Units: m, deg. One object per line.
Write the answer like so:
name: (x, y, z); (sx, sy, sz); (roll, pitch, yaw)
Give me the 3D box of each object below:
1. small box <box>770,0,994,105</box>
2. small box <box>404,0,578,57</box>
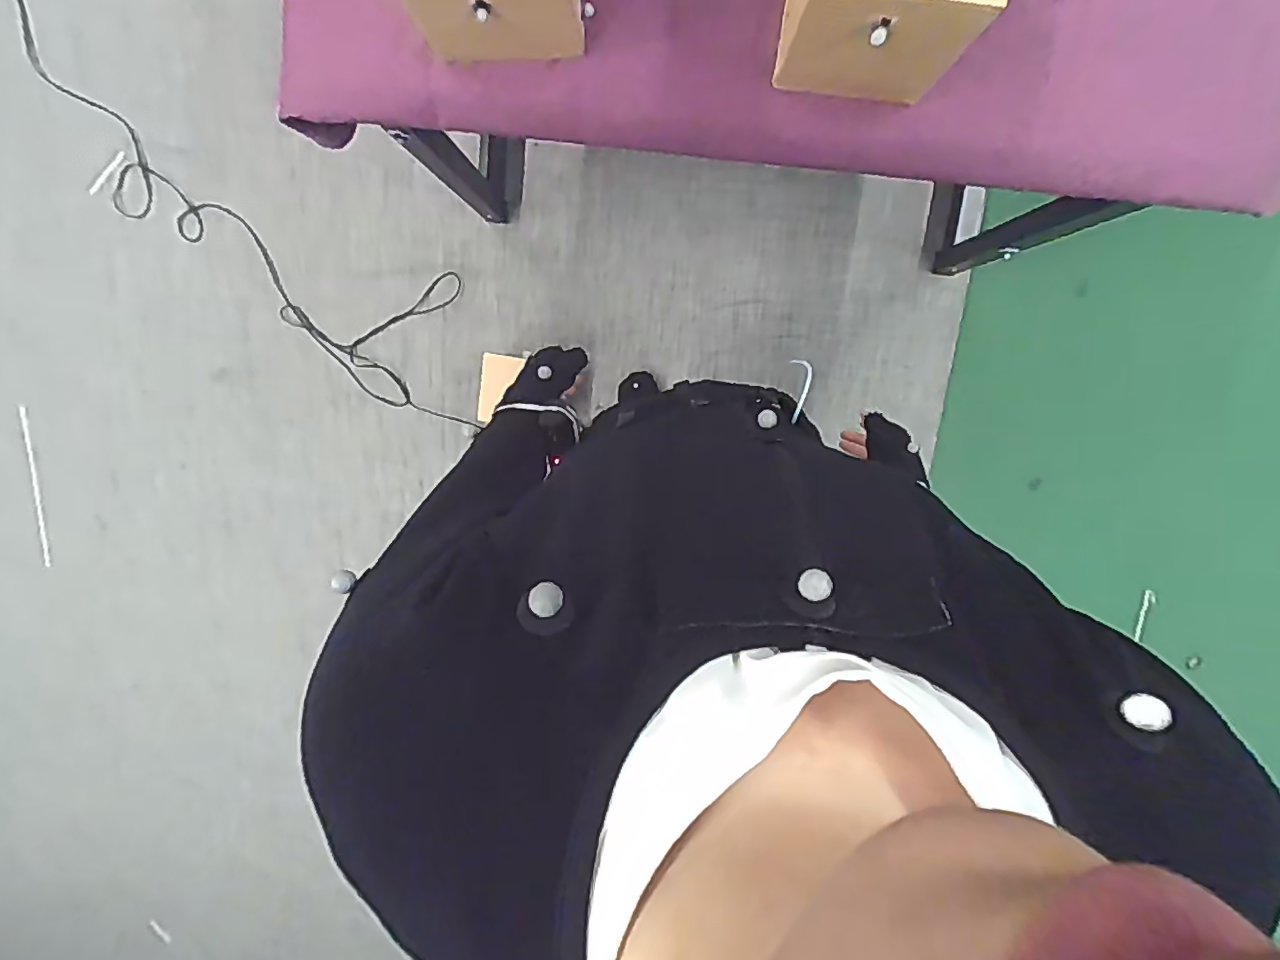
small box: (0.250, -0.525, 0.561); (0.179, 0.176, 0.168); (8, 100, 1)
small box: (-0.158, -0.575, 0.557); (0.179, 0.176, 0.168); (0, 100, 2)
